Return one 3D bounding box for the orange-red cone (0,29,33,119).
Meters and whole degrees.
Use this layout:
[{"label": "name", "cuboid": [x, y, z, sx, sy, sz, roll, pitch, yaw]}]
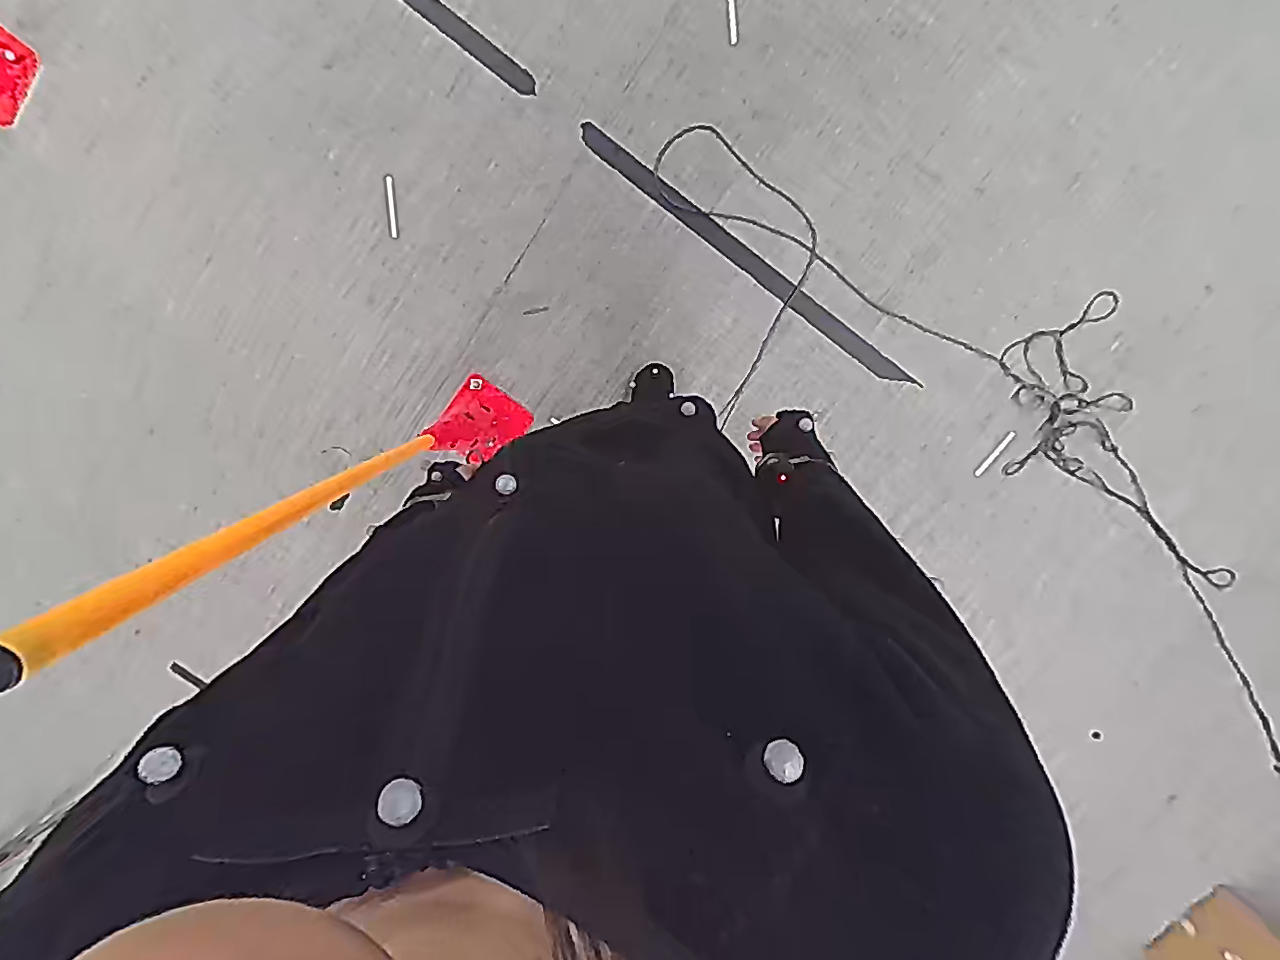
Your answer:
[{"label": "orange-red cone", "cuboid": [-1.544, -0.939, 1.090, 0.199, 0.360, 0.198, 39, 99, -5]}]
